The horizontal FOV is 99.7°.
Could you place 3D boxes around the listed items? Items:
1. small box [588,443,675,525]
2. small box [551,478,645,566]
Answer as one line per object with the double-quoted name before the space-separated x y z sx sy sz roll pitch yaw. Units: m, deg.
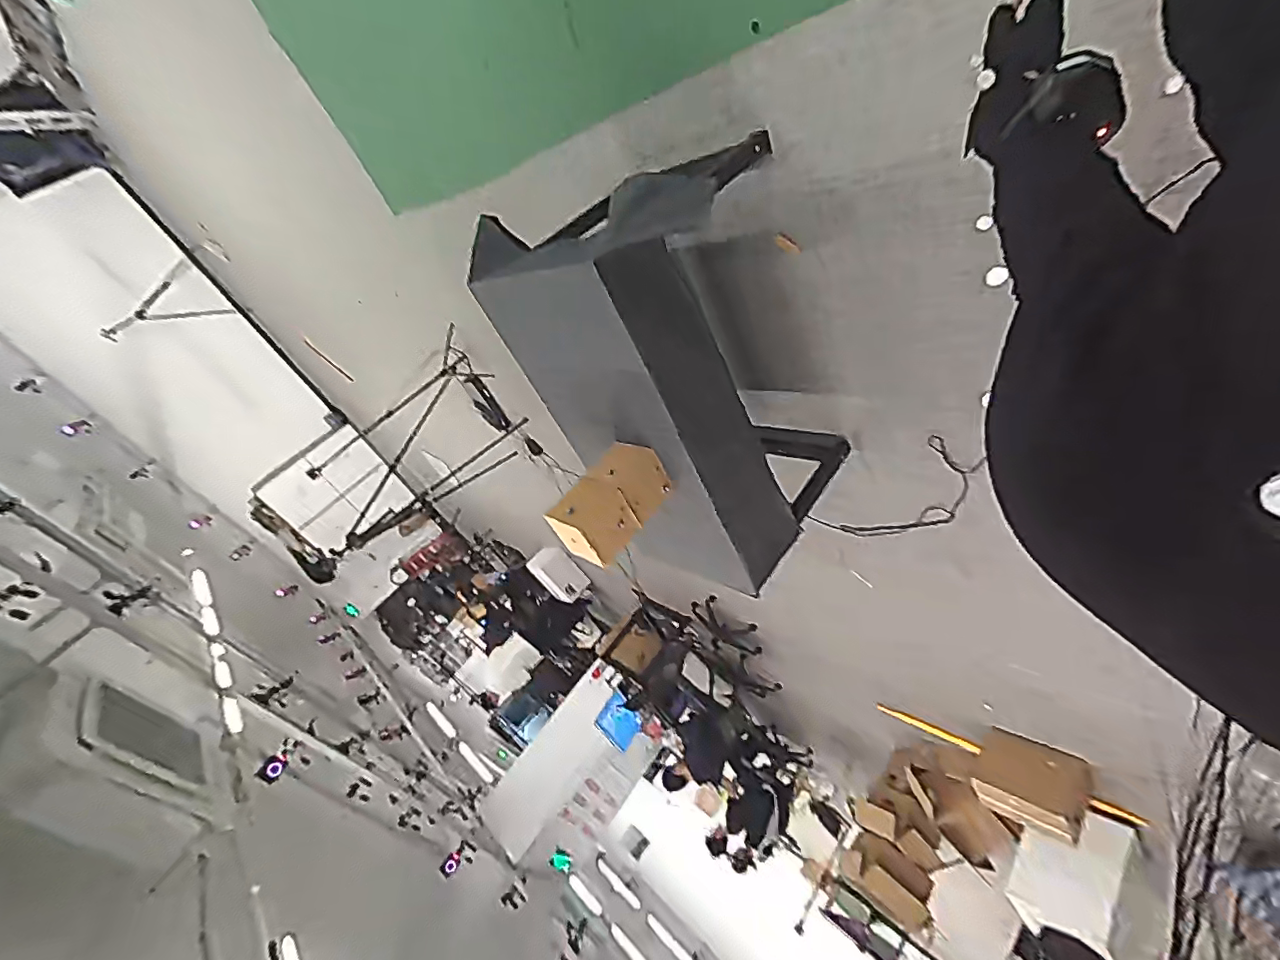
"small box" -0.016 0.005 1.630 0.179 0.176 0.168 15 144 48
"small box" -0.117 0.113 1.562 0.179 0.176 0.168 14 143 47
